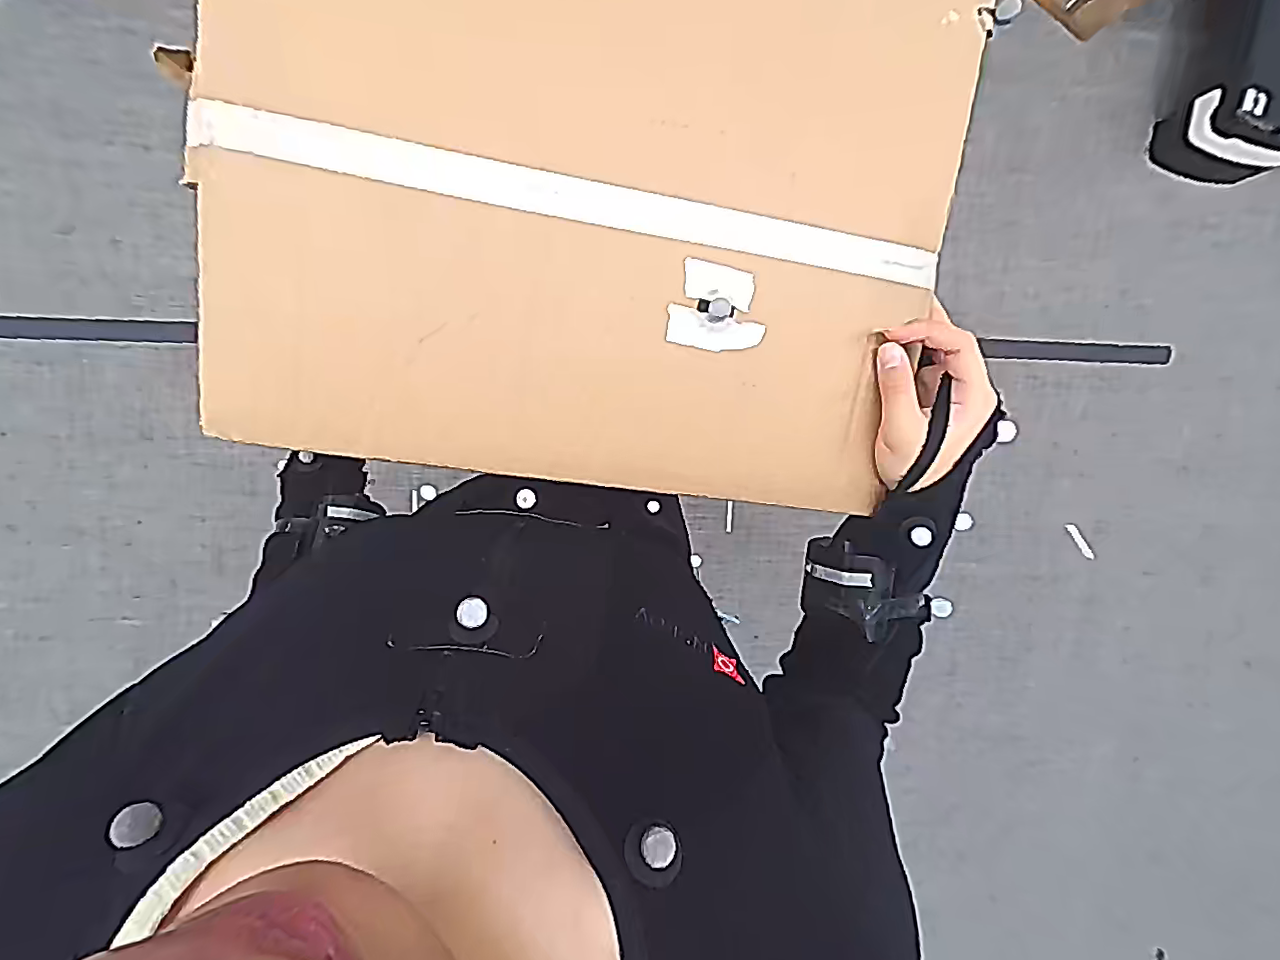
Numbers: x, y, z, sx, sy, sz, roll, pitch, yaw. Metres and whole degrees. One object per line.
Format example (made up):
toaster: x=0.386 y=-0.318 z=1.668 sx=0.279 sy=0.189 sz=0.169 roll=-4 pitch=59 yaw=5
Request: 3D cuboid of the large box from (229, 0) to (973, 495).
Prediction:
large box: x=-0.039 y=-0.184 z=0.453 sx=0.408 sy=0.320 sz=0.320 roll=7 pitch=100 yaw=-12
